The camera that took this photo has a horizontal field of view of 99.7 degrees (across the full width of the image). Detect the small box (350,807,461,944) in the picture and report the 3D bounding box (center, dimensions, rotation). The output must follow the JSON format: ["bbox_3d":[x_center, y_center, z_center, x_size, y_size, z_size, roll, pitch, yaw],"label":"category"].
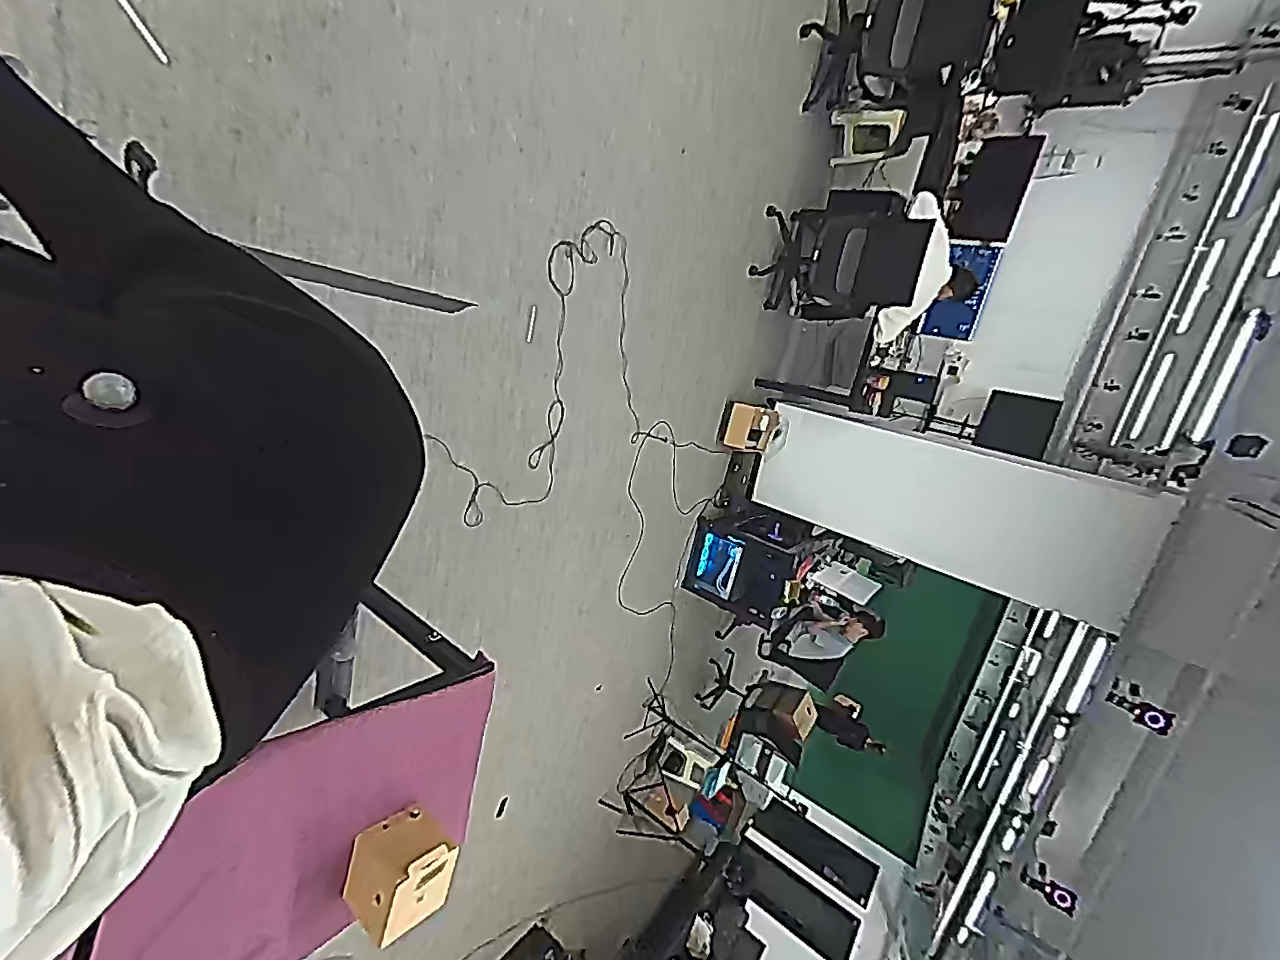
[{"bbox_3d":[-0.559,0.919,1.283,0.168,0.176,0.179,3,106,-56],"label":"small box"}]
